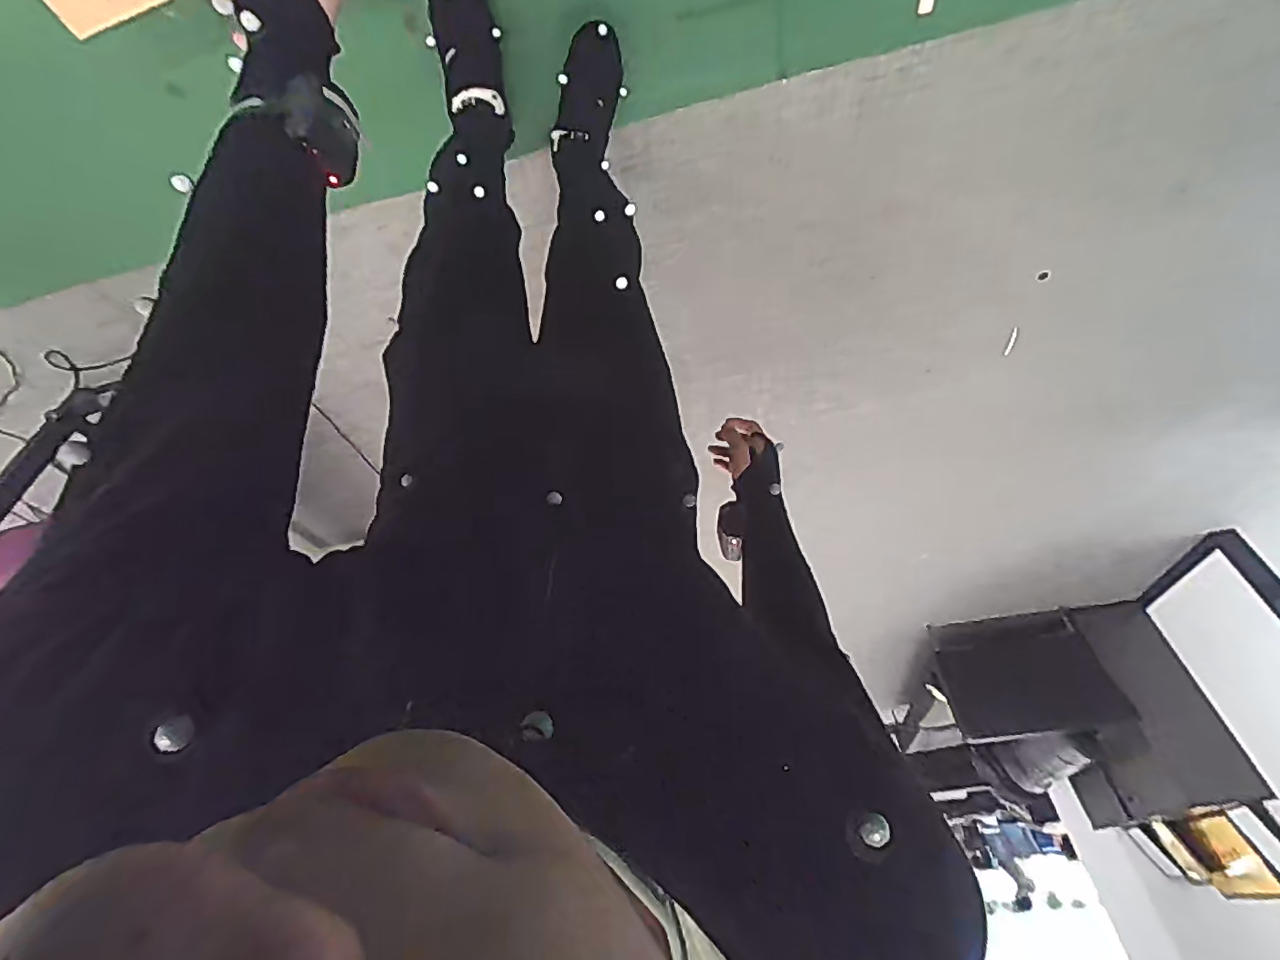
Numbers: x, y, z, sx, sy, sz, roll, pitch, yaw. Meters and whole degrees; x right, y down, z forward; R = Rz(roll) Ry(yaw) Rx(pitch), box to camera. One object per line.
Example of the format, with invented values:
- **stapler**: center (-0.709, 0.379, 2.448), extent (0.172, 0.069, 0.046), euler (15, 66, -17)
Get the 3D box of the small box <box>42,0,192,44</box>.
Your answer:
- **small box**: center (-0.718, -0.729, 0.717), extent (0.168, 0.176, 0.179), euler (-12, 141, 10)
